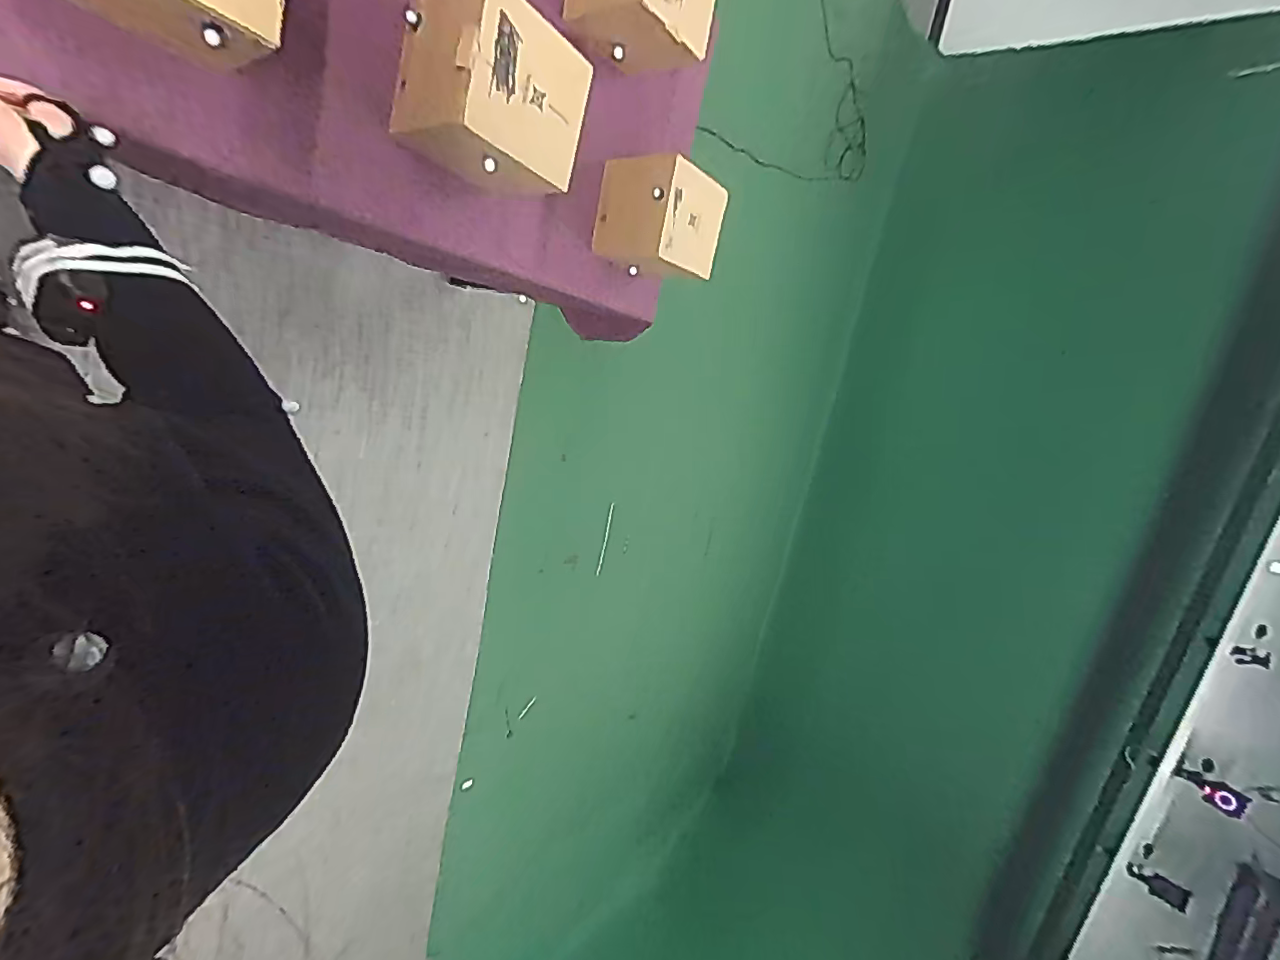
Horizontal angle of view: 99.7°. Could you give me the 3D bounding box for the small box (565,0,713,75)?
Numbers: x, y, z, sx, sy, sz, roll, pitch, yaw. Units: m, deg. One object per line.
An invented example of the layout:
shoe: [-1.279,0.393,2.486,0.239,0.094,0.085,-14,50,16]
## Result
small box: [0.003,-0.780,0.848,0.168,0.176,0.179,-6,112,-51]

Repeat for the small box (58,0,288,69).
small box: [-0.414,-0.478,0.444,0.179,0.176,0.168,-1,107,-54]

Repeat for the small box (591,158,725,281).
small box: [0.035,-0.492,1.035,0.179,0.176,0.168,-4,109,-53]

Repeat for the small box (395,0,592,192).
small box: [-0.197,-0.501,0.721,0.179,0.176,0.168,2,105,-55]
